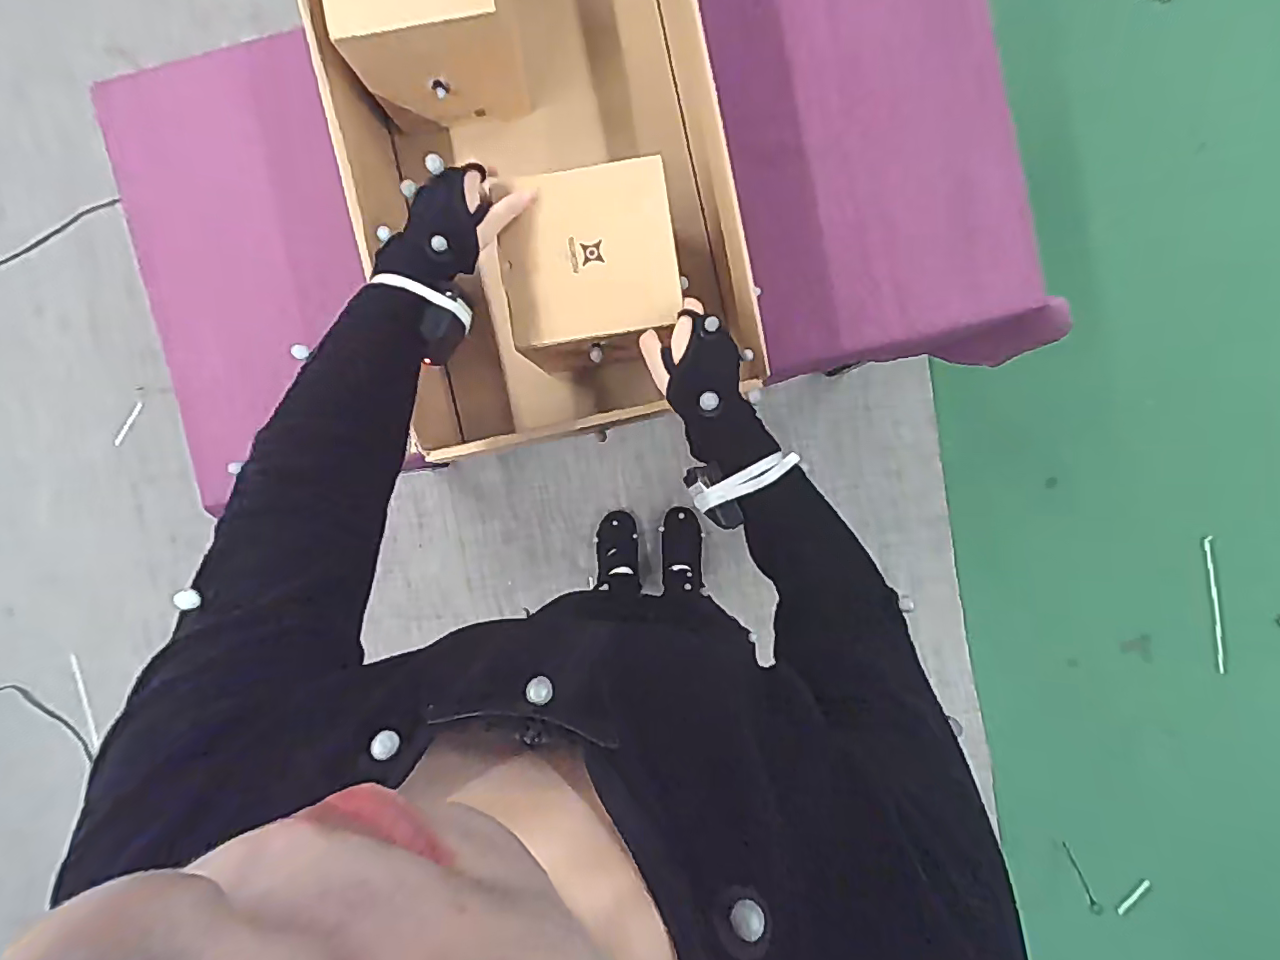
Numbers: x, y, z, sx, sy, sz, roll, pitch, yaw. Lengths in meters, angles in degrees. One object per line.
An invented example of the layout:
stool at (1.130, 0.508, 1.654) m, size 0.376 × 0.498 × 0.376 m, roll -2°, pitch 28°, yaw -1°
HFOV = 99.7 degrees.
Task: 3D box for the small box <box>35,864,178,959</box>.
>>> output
small box at (-1.364, 1.138, 1.394) m, size 0.168 × 0.176 × 0.179 m, roll -23°, pitch 93°, yaw 5°
